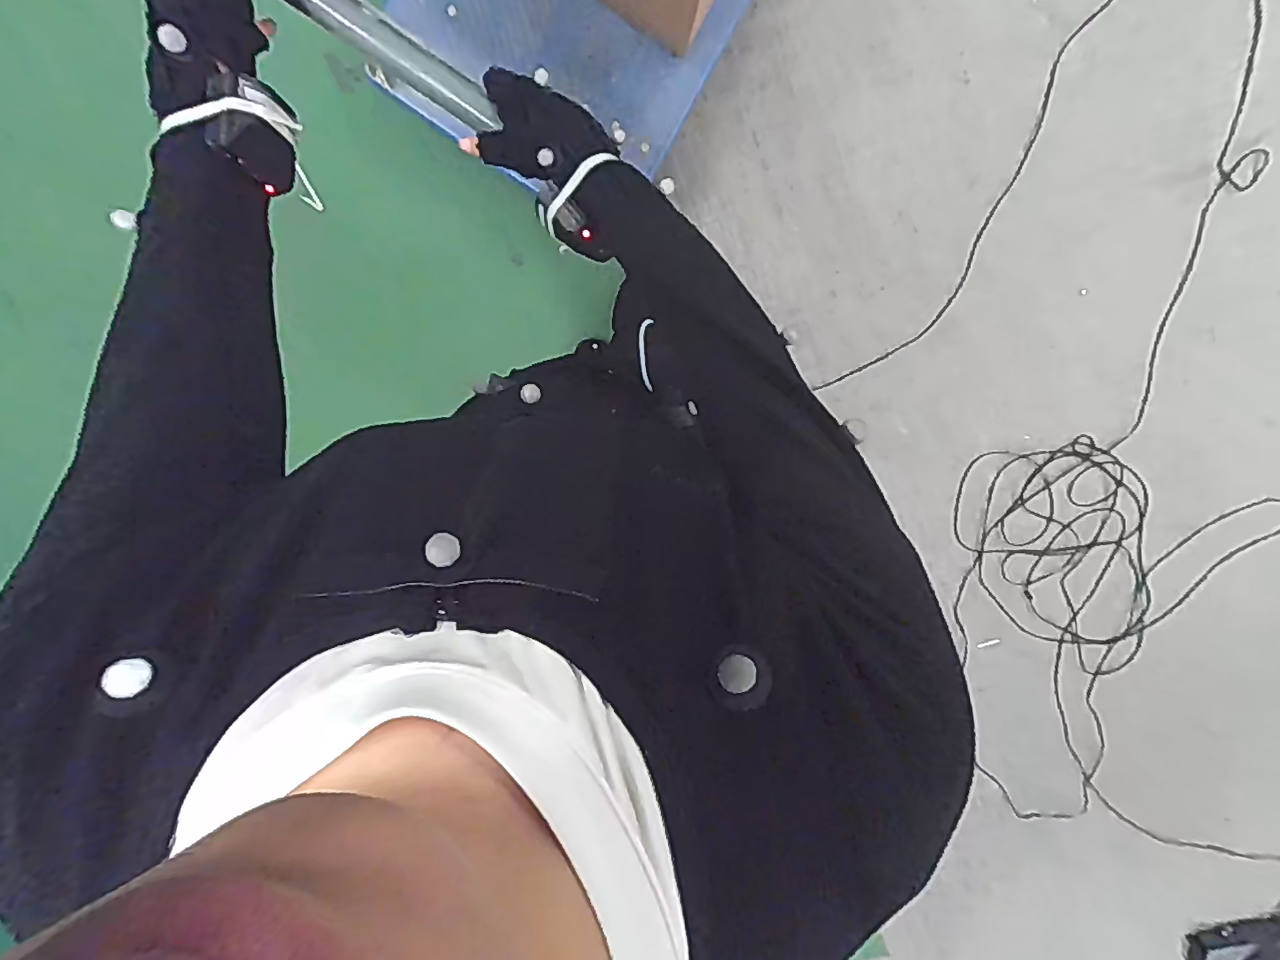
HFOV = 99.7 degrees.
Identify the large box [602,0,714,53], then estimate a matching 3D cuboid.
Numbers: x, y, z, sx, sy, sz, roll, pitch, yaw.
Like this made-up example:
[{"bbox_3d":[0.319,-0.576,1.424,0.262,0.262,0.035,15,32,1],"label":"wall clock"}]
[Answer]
[{"bbox_3d":[-0.010,-0.981,0.831,0.408,0.320,0.320,28,106,-10],"label":"large box"}]
